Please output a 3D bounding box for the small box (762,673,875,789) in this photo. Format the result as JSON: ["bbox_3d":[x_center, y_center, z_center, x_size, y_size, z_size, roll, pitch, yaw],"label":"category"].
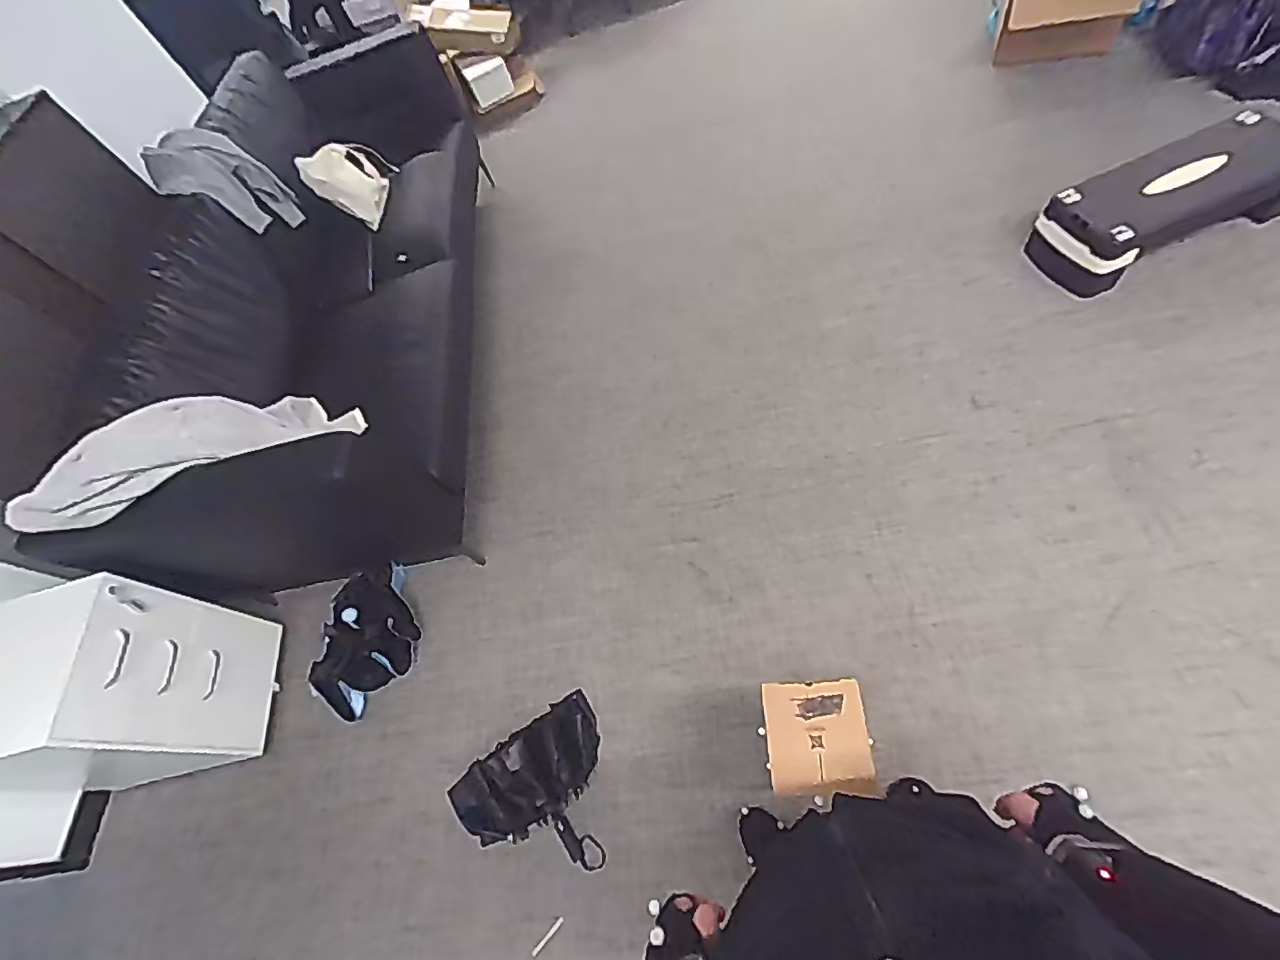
[{"bbox_3d":[0.311,0.456,0.980,0.168,0.176,0.179,-6,62,12],"label":"small box"}]
